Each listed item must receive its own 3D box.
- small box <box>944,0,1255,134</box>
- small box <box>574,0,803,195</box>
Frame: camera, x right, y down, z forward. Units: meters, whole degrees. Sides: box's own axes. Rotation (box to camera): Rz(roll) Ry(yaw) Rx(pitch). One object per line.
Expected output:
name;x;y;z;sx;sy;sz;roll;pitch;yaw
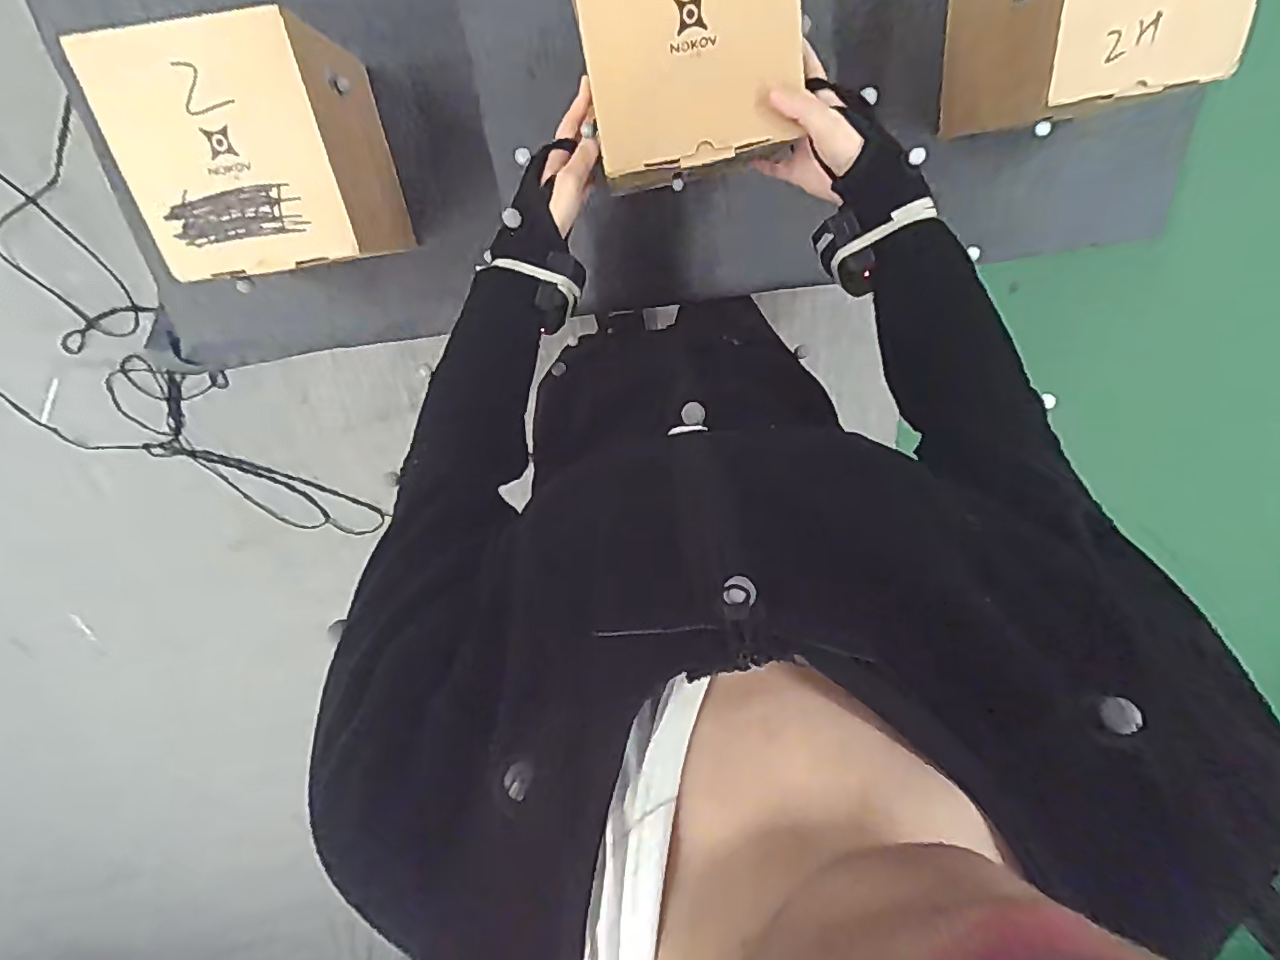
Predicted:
small box;0.409;-0.445;0.499;0.168;0.176;0.179;-9;115;2
small box;0.035;-0.374;0.484;0.168;0.176;0.179;-11;113;4
